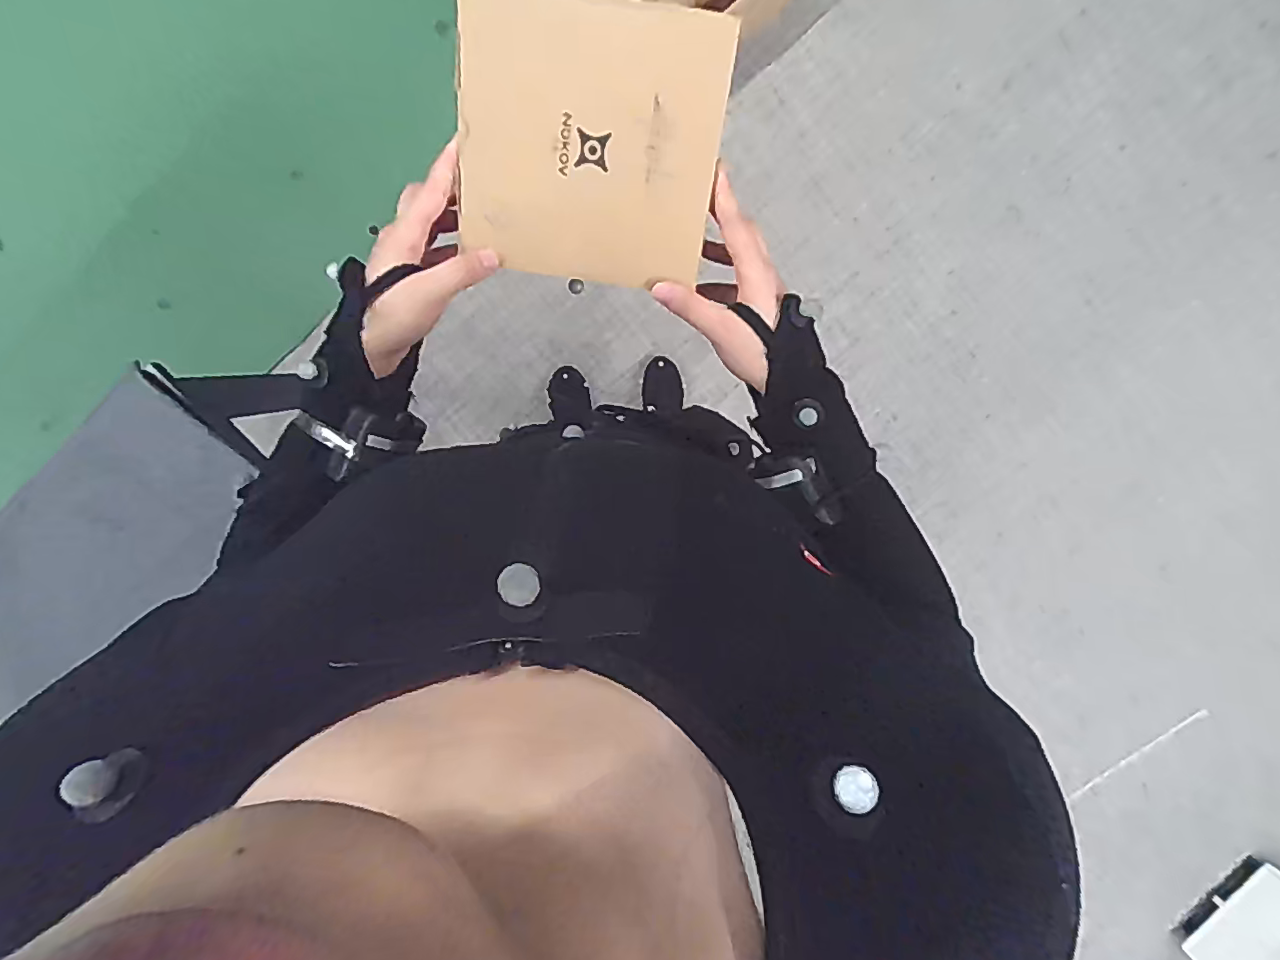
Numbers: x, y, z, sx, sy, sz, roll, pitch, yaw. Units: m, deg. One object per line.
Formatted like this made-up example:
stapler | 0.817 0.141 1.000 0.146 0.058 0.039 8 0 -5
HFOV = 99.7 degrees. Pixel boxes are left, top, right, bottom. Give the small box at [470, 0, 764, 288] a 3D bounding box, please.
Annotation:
small box | -0.021 -0.254 0.423 0.179 0.176 0.168 7 115 -3
